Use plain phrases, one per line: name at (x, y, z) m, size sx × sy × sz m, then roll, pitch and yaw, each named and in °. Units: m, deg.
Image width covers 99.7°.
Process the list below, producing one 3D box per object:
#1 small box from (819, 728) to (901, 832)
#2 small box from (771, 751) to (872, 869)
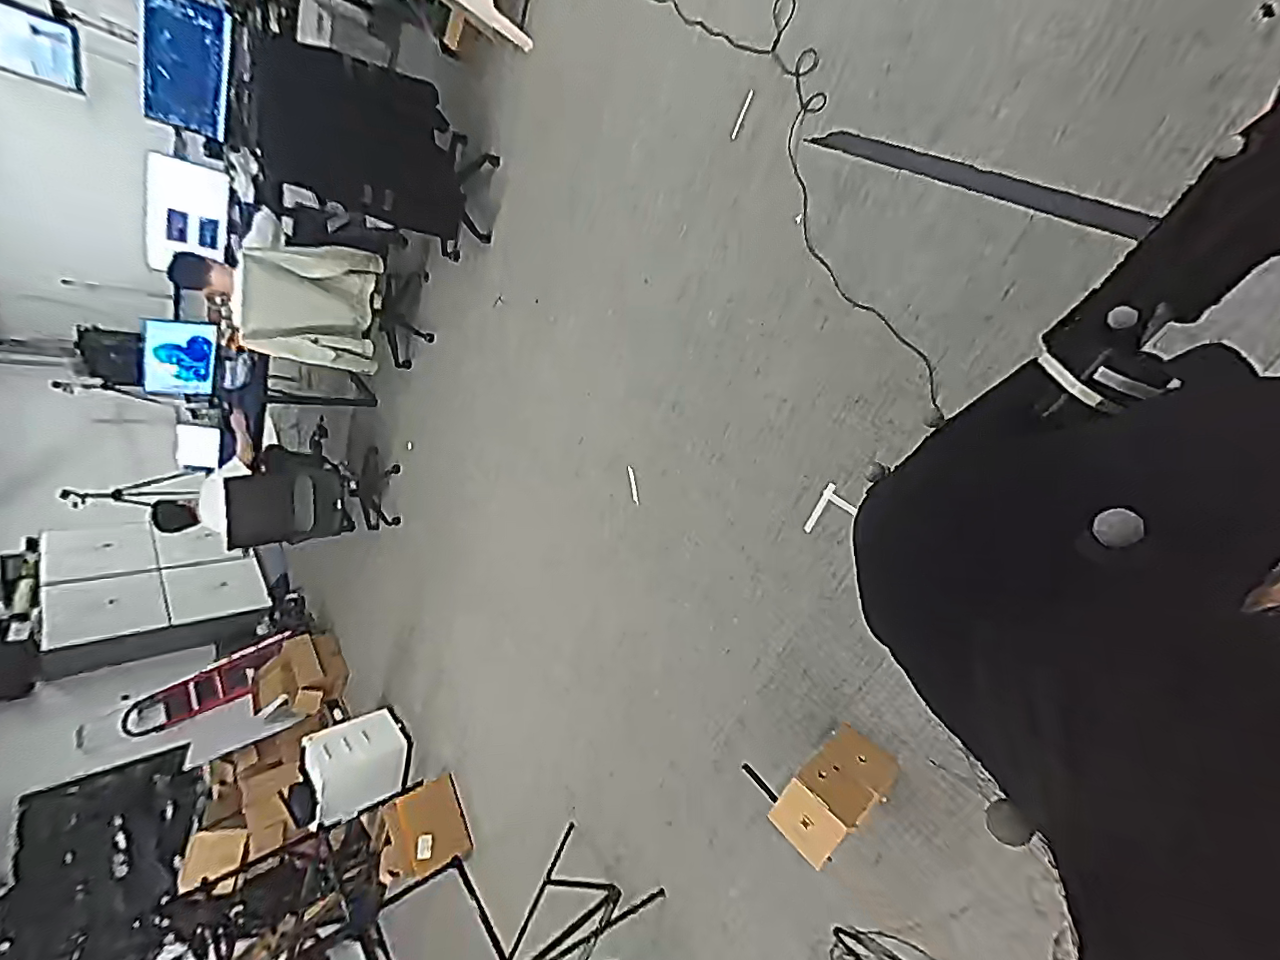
small box at (0.606, 0.841, 1.541) m, size 0.179 × 0.176 × 0.168 m, roll 32°, pitch 116°, yaw 36°
small box at (0.487, 0.862, 1.432) m, size 0.168 × 0.176 × 0.179 m, roll 38°, pitch 120°, yaw 37°
